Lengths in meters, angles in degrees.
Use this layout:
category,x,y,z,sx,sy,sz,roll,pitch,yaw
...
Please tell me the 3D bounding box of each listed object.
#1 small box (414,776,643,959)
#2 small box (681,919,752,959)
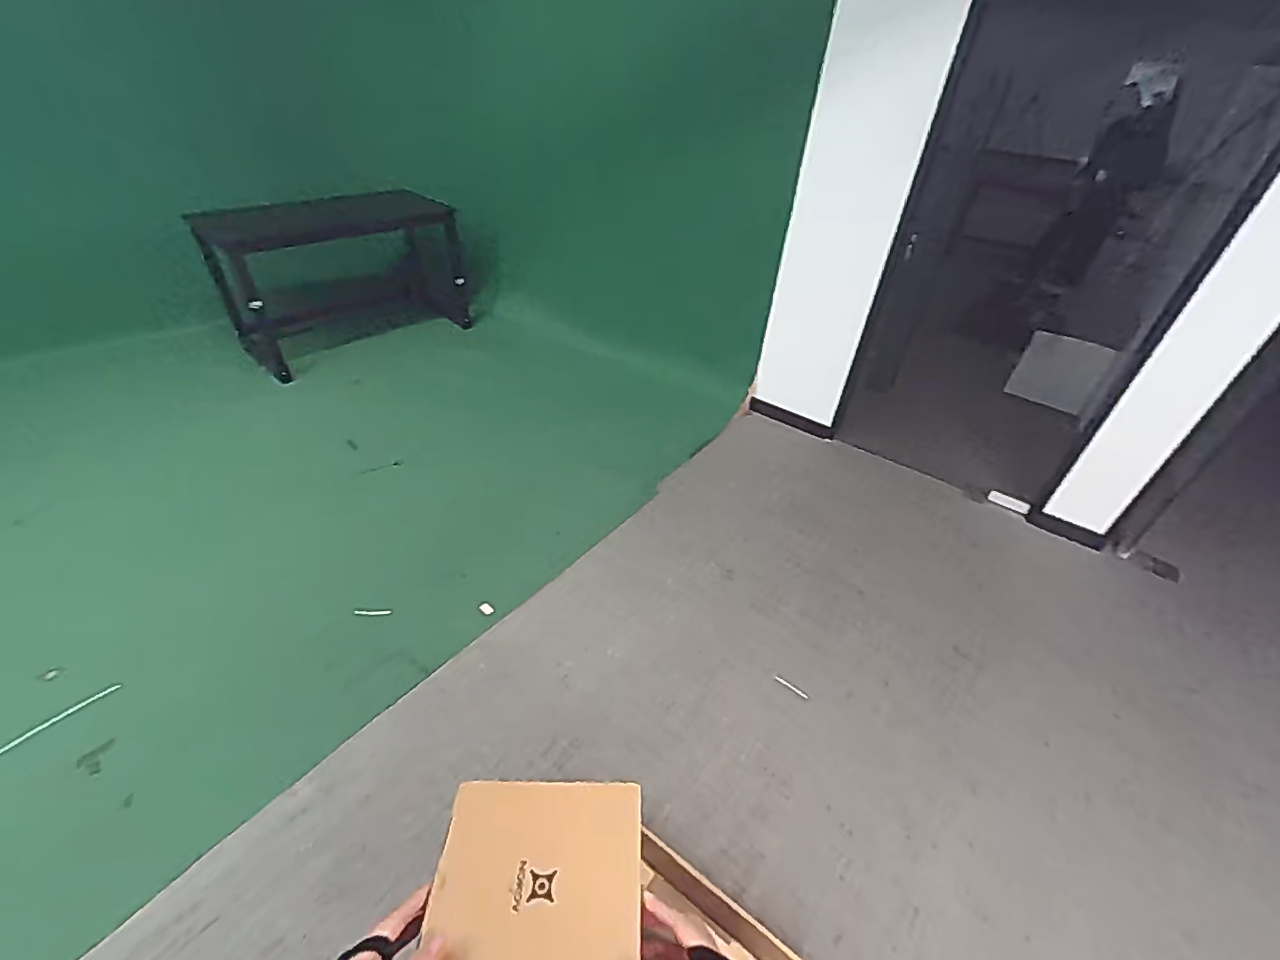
category,x,y,z,sx,sy,sz,roll,pitch,yaw
small box,-0.086,0.396,0.499,0.179,0.176,0.168,-1,37,0
small box,0.120,0.894,0.895,0.168,0.176,0.179,26,44,25
